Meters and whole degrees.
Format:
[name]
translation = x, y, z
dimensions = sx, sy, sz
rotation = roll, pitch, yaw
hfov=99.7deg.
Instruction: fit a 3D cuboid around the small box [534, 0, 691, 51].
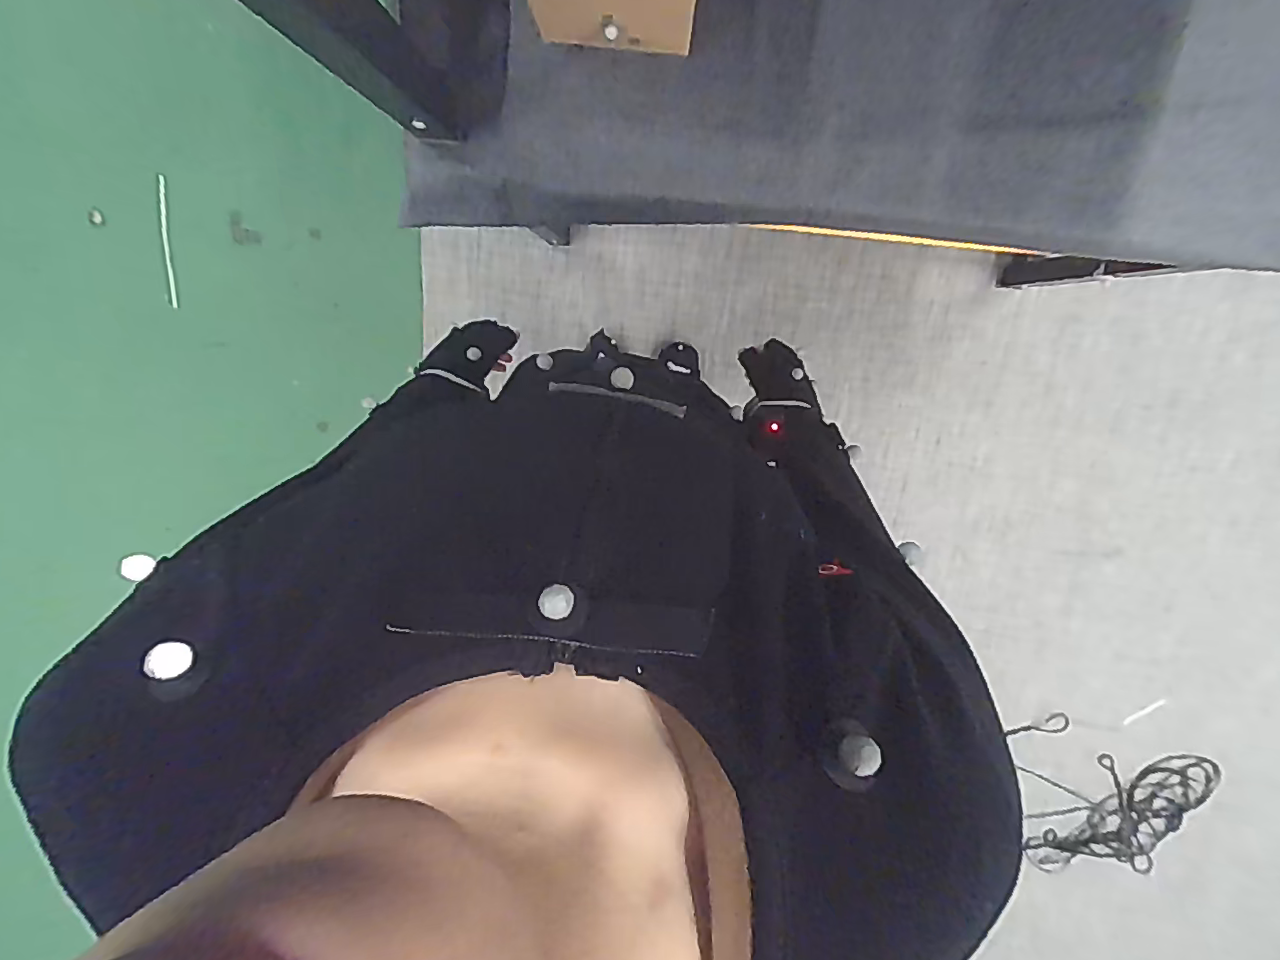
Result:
[small box]
translation = -0.024, -0.546, 0.499
dimensions = 0.168, 0.176, 0.179
rotation = 6, 105, 1
